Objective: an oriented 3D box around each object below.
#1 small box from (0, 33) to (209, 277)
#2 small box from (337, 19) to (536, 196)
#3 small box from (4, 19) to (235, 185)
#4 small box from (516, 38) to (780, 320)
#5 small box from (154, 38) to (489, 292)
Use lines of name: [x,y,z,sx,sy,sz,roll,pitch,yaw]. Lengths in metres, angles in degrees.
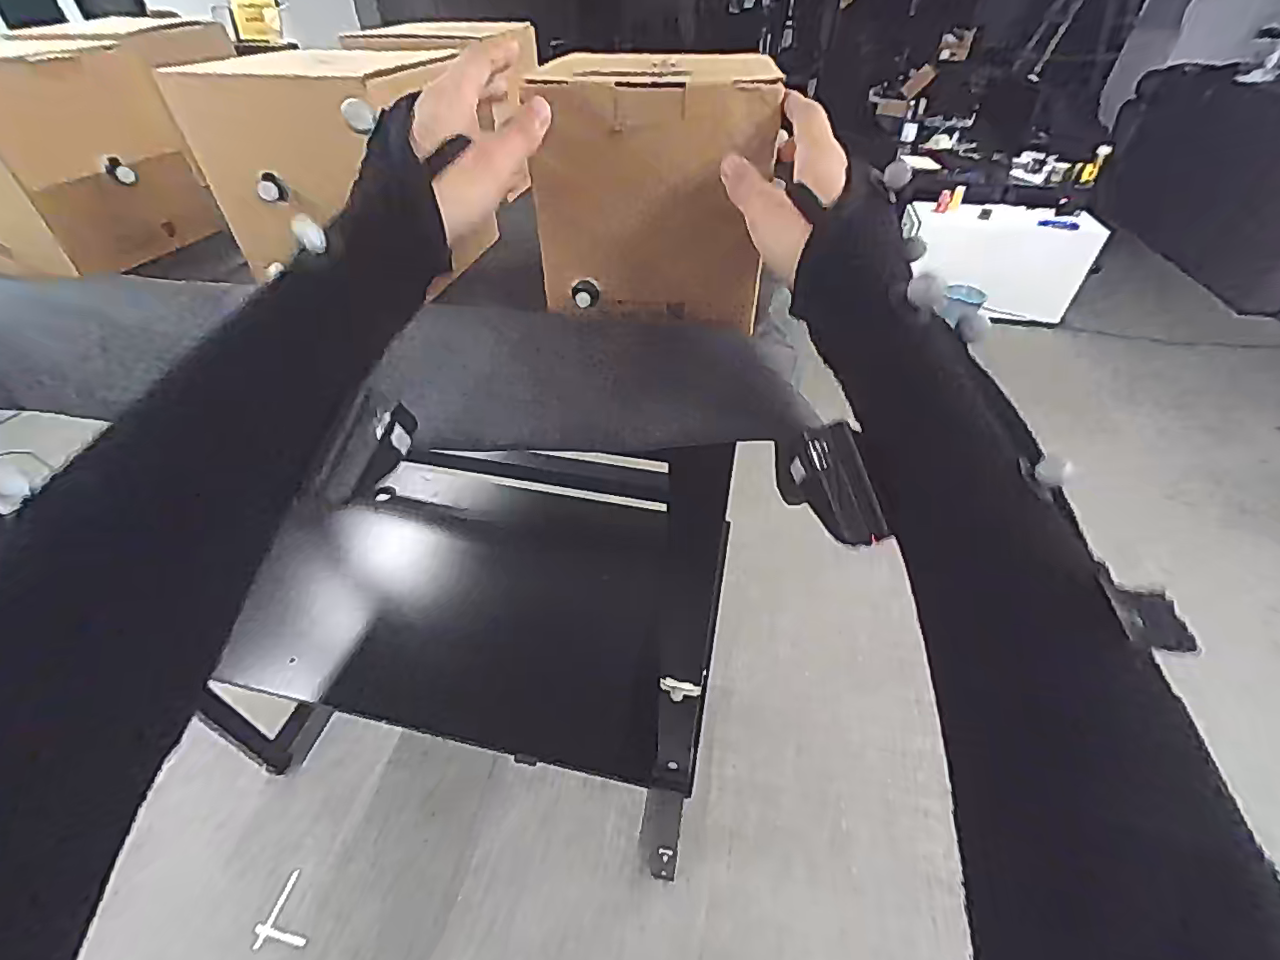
small box: [-0.575,-0.307,0.513,0.179,0.176,0.168,8,42,8]
small box: [-0.237,-0.480,0.698,0.179,0.176,0.168,8,44,9]
small box: [-0.666,-0.524,0.748,0.168,0.176,0.179,3,43,5]
small box: [0.015,-0.243,0.439,0.168,0.176,0.179,4,42,5]
small box: [-0.253,-0.283,0.488,0.168,0.176,0.179,6,42,7]
